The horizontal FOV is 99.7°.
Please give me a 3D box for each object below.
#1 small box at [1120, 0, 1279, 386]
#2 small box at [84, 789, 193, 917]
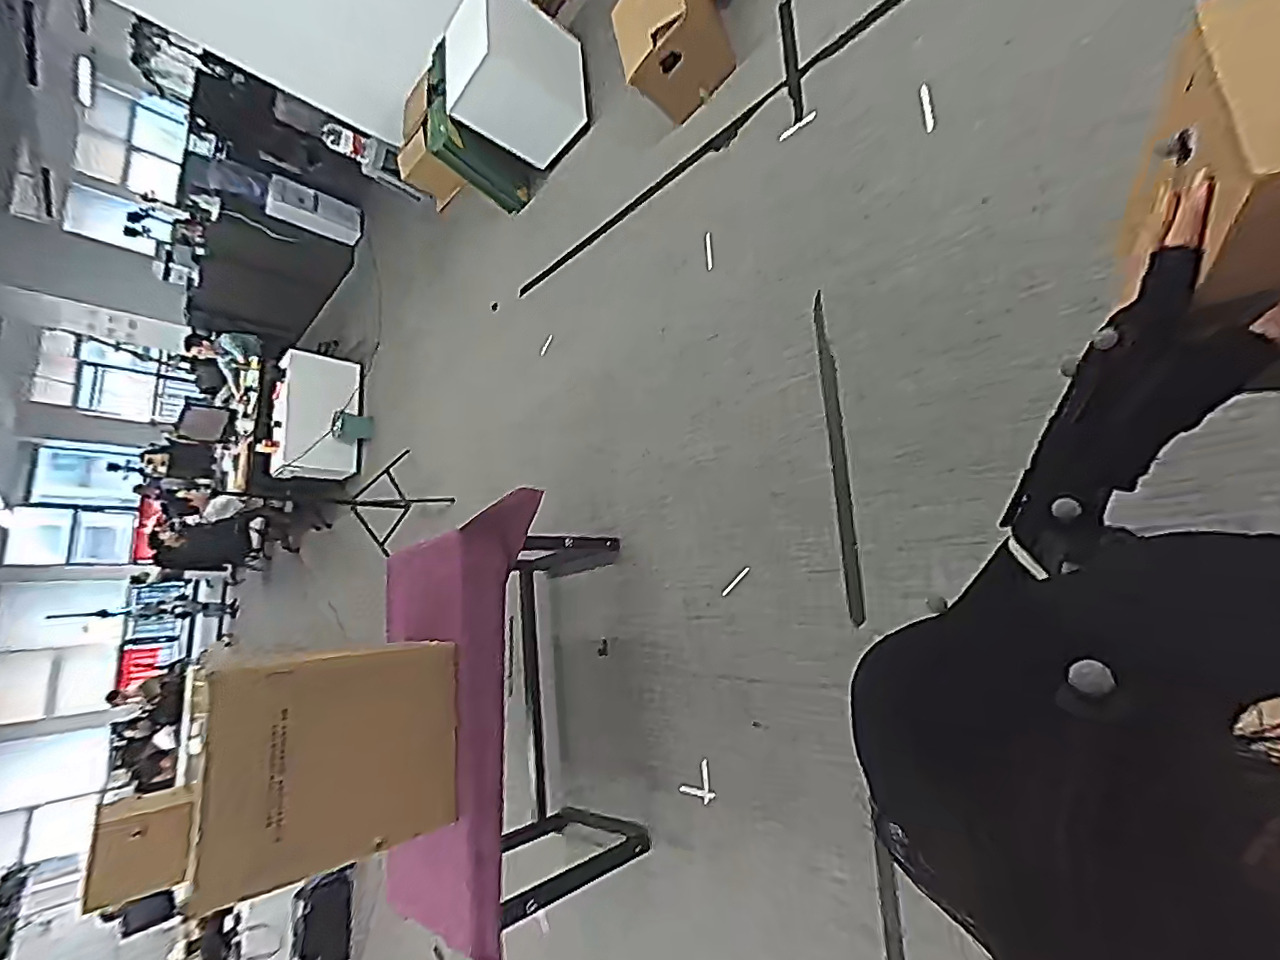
[{"bbox_3d":[0.405,-0.175,0.305,0.168,0.176,0.179,1,60,29],"label":"small box"},{"bbox_3d":[-1.144,0.839,1.240,0.168,0.176,0.179,-14,75,45],"label":"small box"}]
